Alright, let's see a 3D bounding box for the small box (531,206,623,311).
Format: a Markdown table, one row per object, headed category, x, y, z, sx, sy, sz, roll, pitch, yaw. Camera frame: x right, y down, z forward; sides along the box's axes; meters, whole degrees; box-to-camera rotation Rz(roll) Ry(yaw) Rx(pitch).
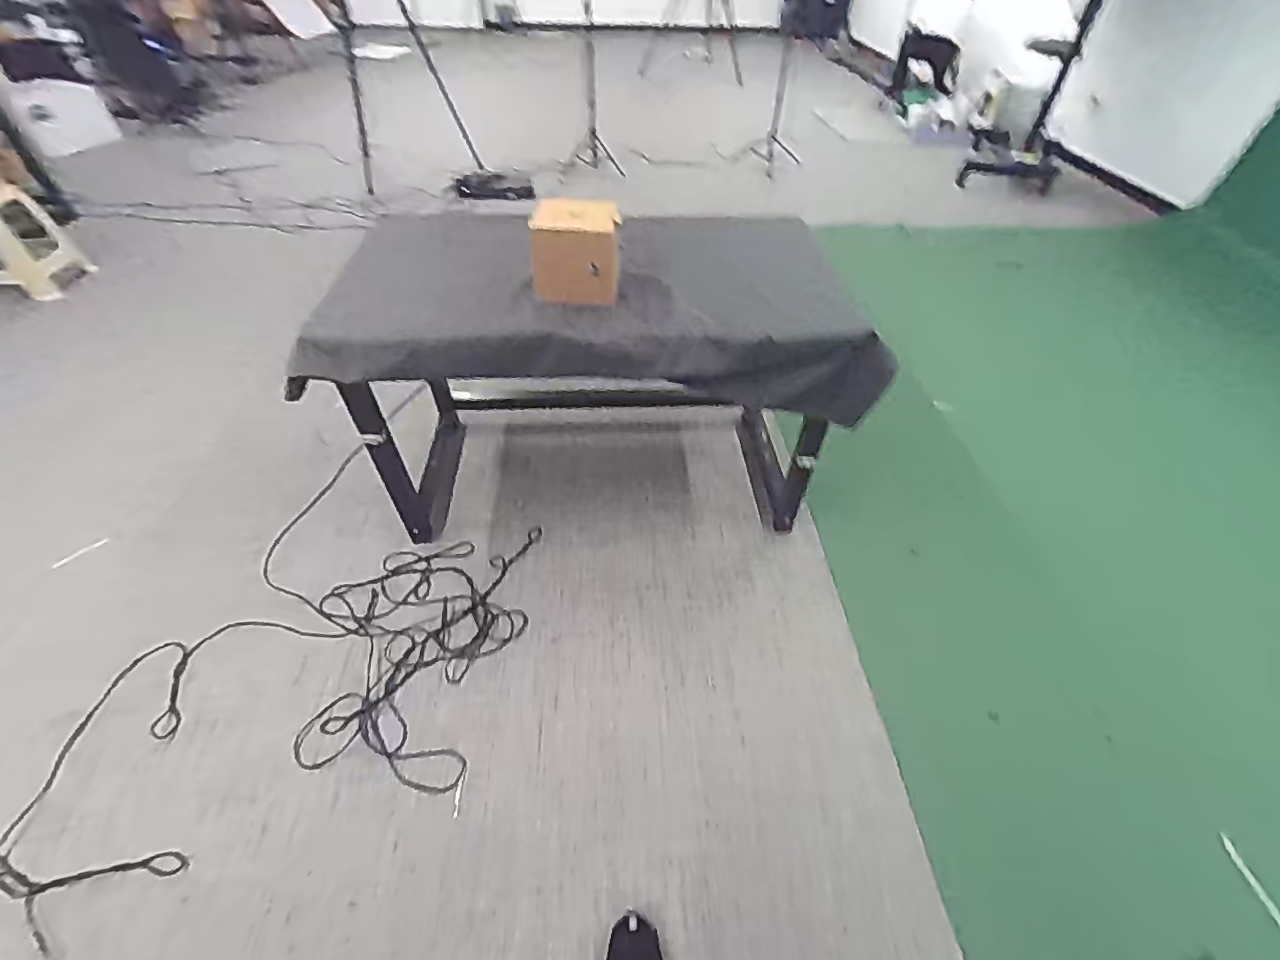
| category | x | y | z | sx | sy | sz | roll | pitch | yaw |
| --- | --- | --- | --- | --- | --- | --- | --- | --- | --- |
| small box | -0.133 | -0.493 | 1.213 | 0.179 | 0.176 | 0.168 | 3 | 45 | 2 |
